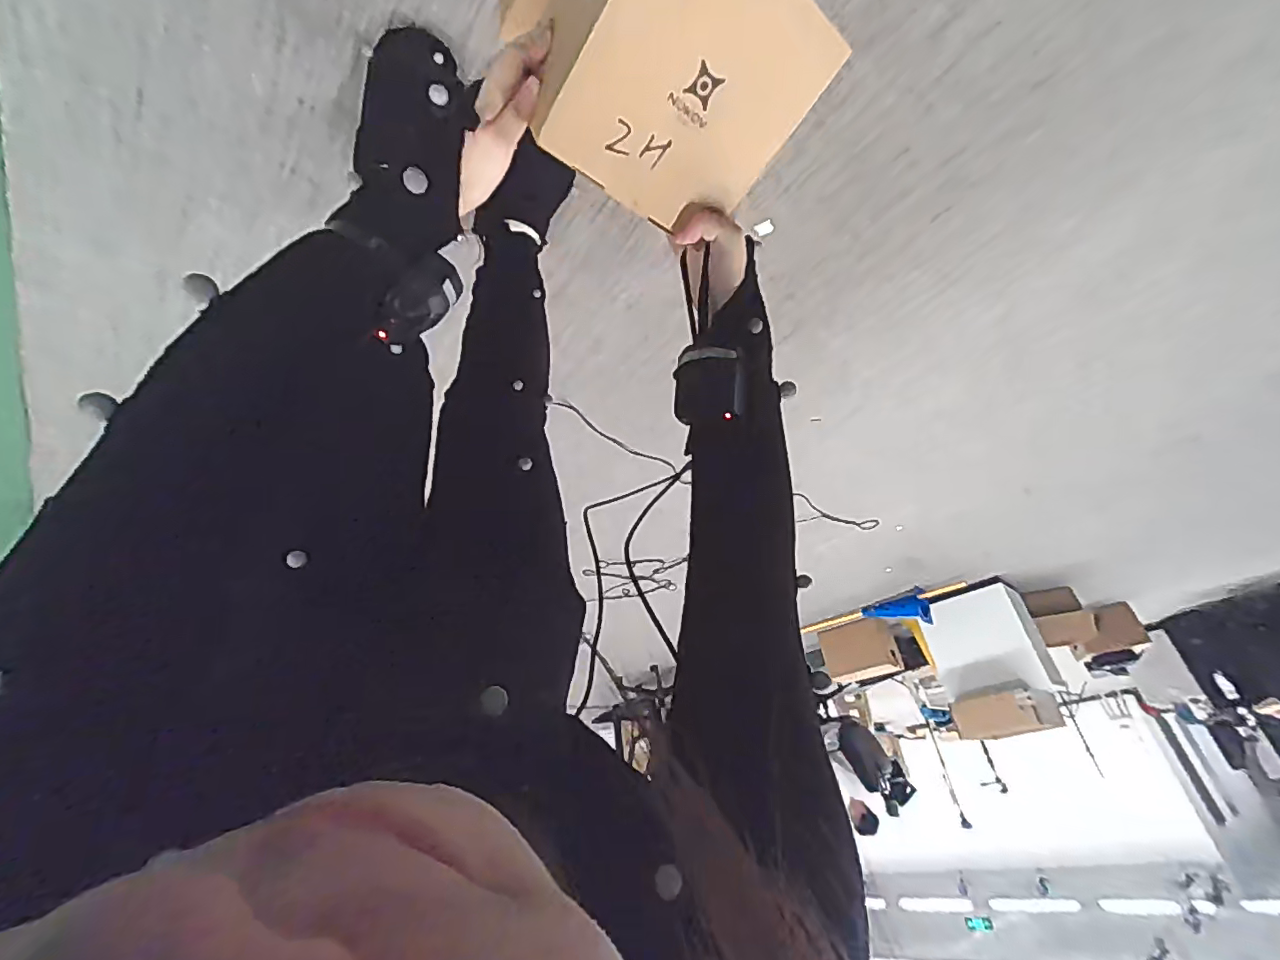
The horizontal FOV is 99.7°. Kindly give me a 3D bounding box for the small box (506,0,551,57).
[{"bbox_3d":[-0.017,-0.487,0.532,0.168,0.176,0.179,22,138,-36],"label":"small box"}]

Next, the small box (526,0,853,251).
[{"bbox_3d":[0.021,-0.331,0.428,0.168,0.176,0.179,18,130,-35],"label":"small box"}]
